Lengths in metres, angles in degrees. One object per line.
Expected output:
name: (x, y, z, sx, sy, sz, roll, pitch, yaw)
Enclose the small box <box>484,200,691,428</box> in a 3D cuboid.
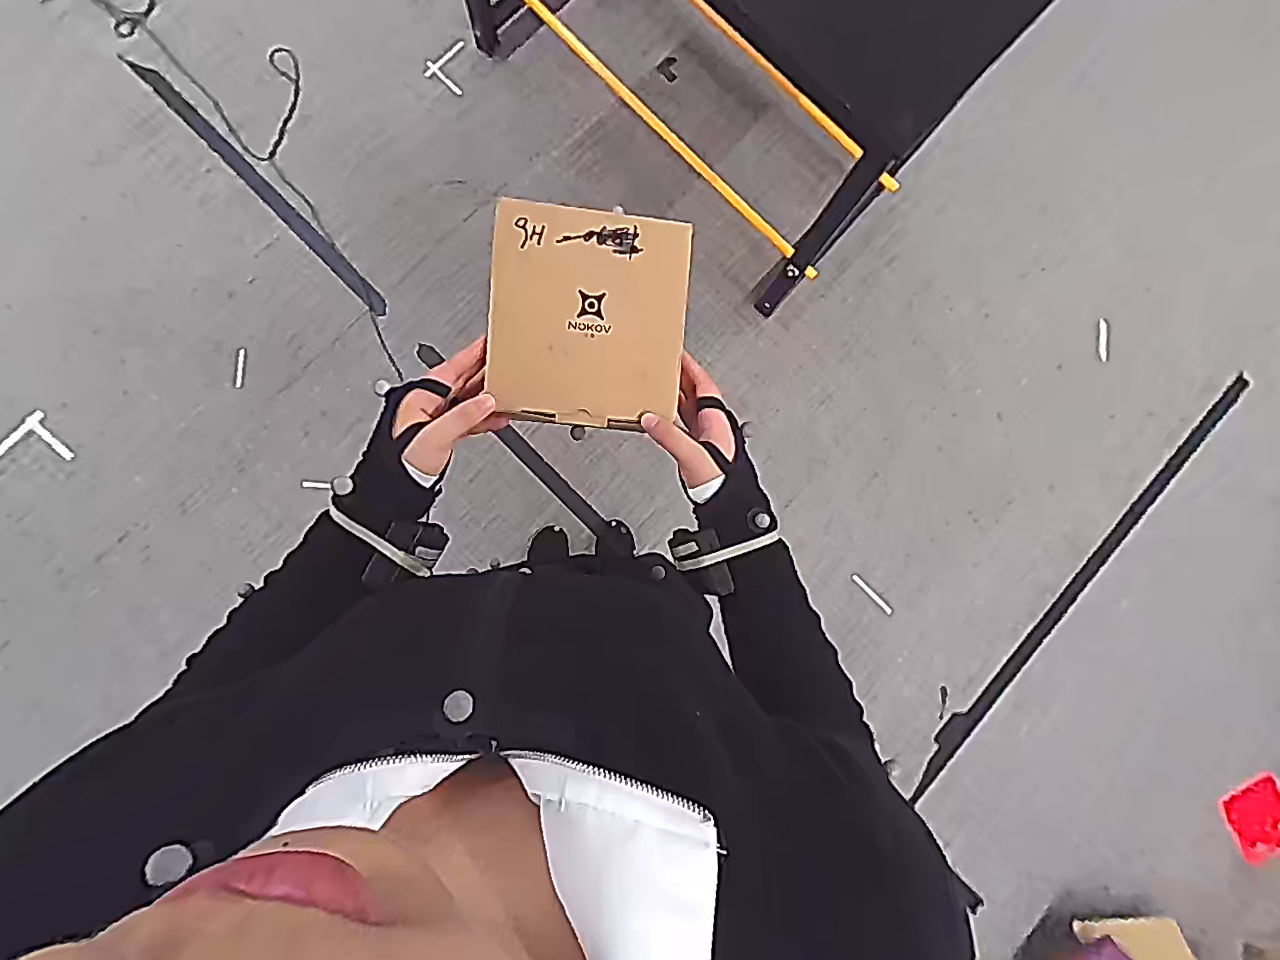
small box: (-0.053, -0.145, 0.536, 0.168, 0.176, 0.179, 4, 95, -8)
